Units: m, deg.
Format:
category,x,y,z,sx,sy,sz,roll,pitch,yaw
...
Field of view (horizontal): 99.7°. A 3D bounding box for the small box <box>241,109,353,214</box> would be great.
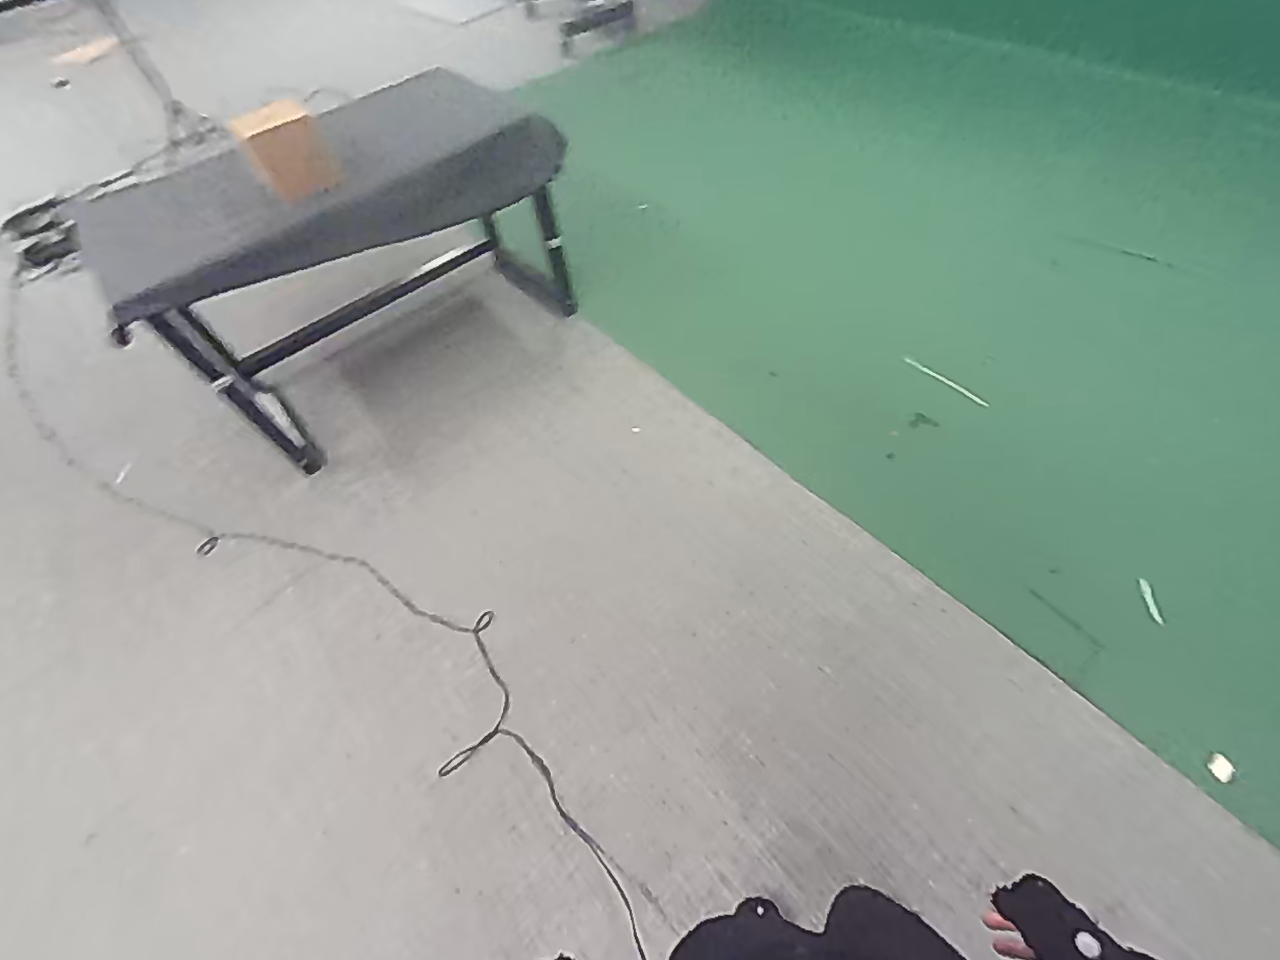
category,x,y,z,sx,sy,sz,roll,pitch,yaw
small box,-0.899,-0.845,1.438,0.179,0.176,0.168,-39,58,-18
